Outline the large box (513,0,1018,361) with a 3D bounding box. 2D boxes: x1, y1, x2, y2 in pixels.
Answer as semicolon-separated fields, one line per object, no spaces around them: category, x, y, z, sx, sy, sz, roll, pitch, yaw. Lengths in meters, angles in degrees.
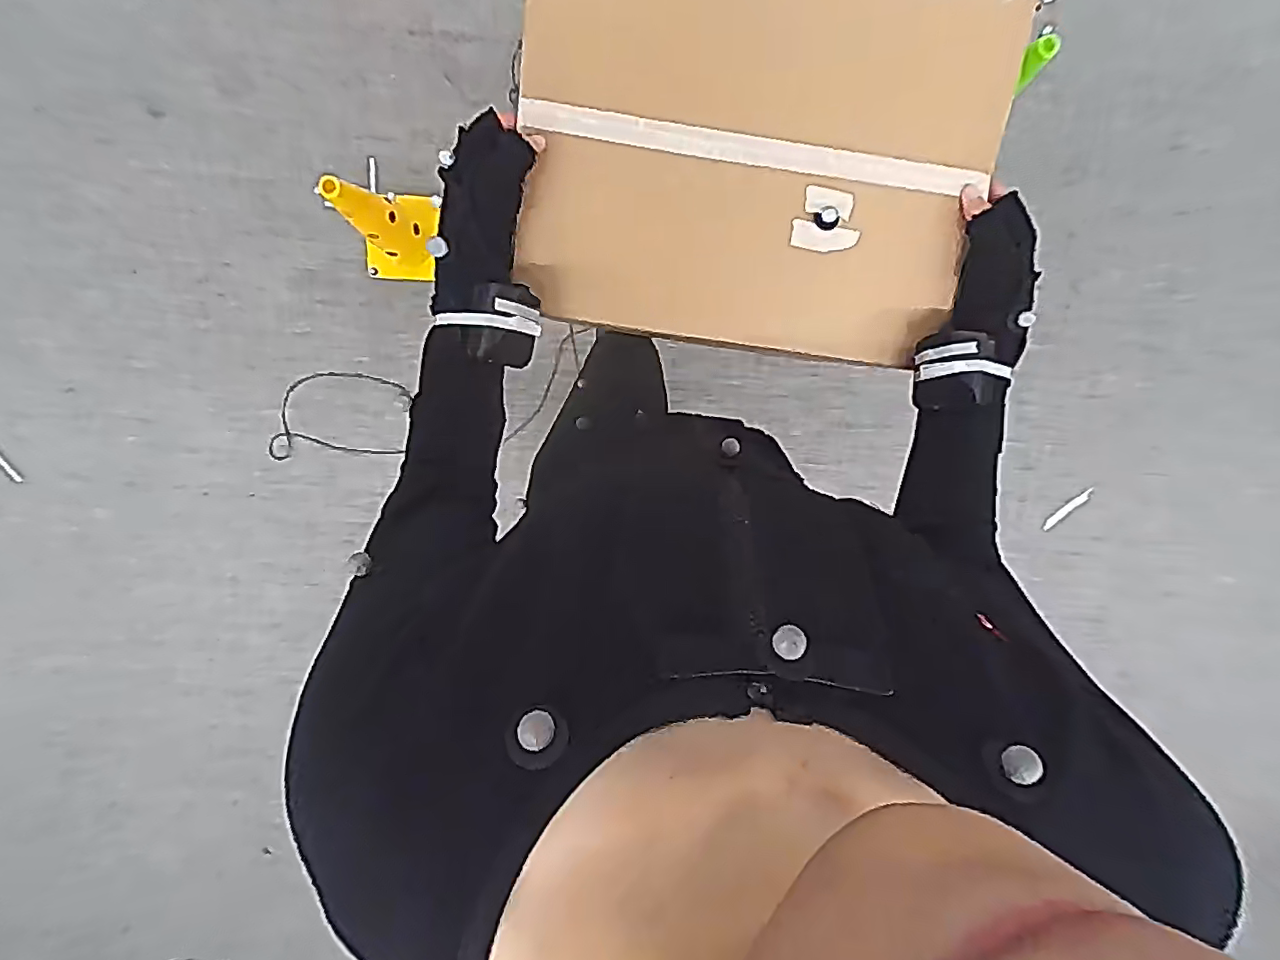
large box;0.092;-0.315;0.610;0.408;0.320;0.320;7;104;-4
